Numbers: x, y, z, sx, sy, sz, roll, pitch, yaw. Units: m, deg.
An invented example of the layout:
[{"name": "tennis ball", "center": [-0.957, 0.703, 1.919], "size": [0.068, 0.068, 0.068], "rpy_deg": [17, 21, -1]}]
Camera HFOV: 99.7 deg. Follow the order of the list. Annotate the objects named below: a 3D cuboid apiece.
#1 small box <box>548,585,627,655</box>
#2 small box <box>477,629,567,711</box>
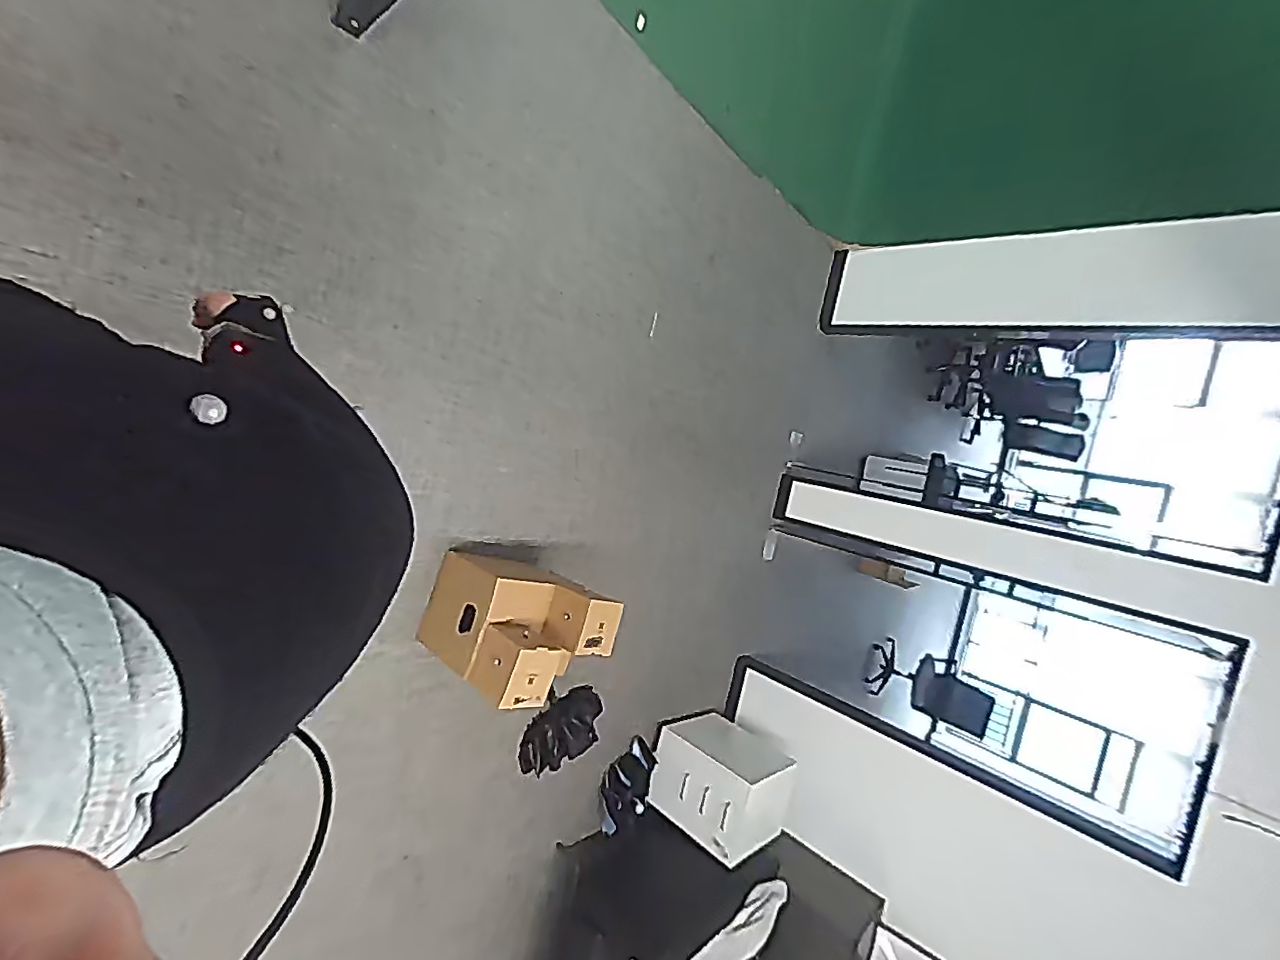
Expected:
[{"name": "small box", "center": [-0.174, 0.454, 1.752], "size": [0.168, 0.176, 0.179], "rpy_deg": [22, 80, -49]}, {"name": "small box", "center": [-0.347, 0.548, 1.577], "size": [0.168, 0.176, 0.179], "rpy_deg": [22, 84, -50]}]
